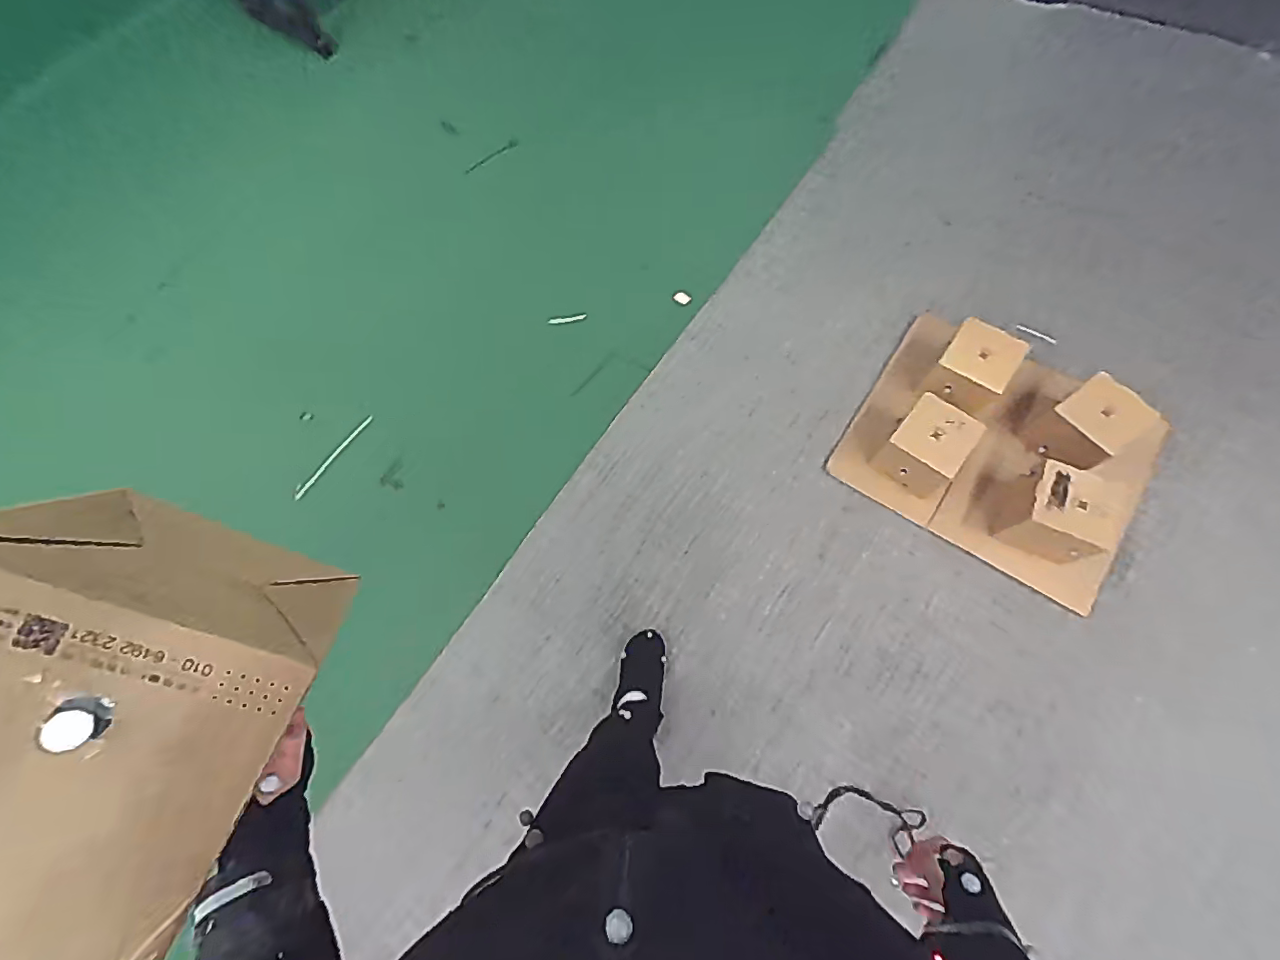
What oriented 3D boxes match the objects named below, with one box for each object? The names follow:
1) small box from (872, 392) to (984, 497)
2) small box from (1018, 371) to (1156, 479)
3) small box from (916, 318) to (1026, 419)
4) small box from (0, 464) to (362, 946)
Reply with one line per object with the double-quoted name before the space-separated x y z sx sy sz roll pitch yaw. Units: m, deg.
"small box" 0.721 -0.083 1.381 0.168 0.176 0.179 38 76 16
"small box" 1.113 -0.133 1.364 0.179 0.176 0.168 -36 70 -9
"small box" 0.873 -0.289 1.448 0.168 0.176 0.179 33 75 15
"small box" -0.285 0.101 0.311 0.168 0.179 0.176 29 85 -20
